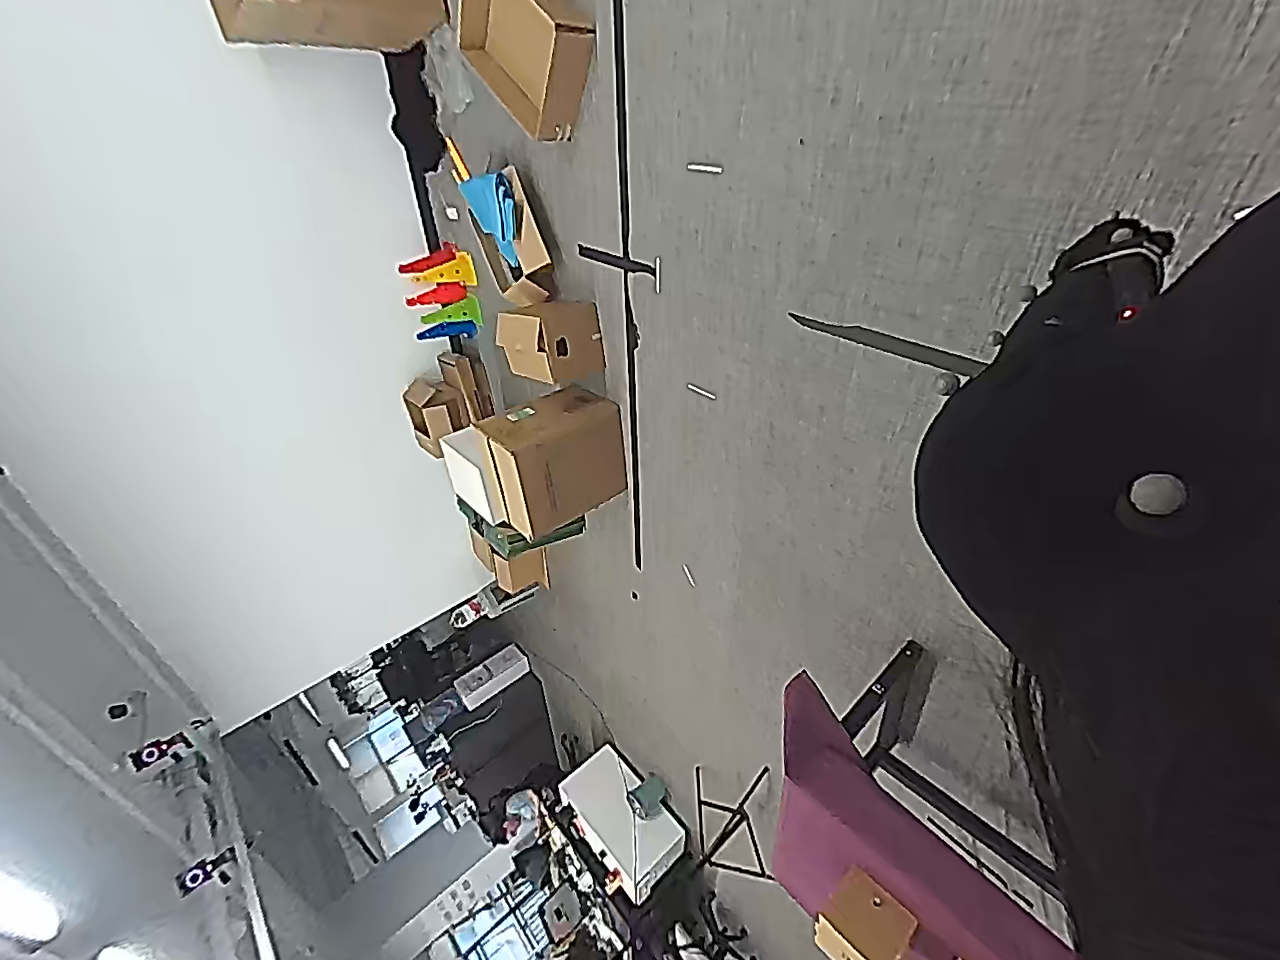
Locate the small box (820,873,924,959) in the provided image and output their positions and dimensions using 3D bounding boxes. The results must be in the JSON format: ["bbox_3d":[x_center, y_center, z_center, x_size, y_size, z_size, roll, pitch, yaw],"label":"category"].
[{"bbox_3d":[0.588,1.155,1.381,0.179,0.176,0.168,27,135,43],"label":"small box"}]
